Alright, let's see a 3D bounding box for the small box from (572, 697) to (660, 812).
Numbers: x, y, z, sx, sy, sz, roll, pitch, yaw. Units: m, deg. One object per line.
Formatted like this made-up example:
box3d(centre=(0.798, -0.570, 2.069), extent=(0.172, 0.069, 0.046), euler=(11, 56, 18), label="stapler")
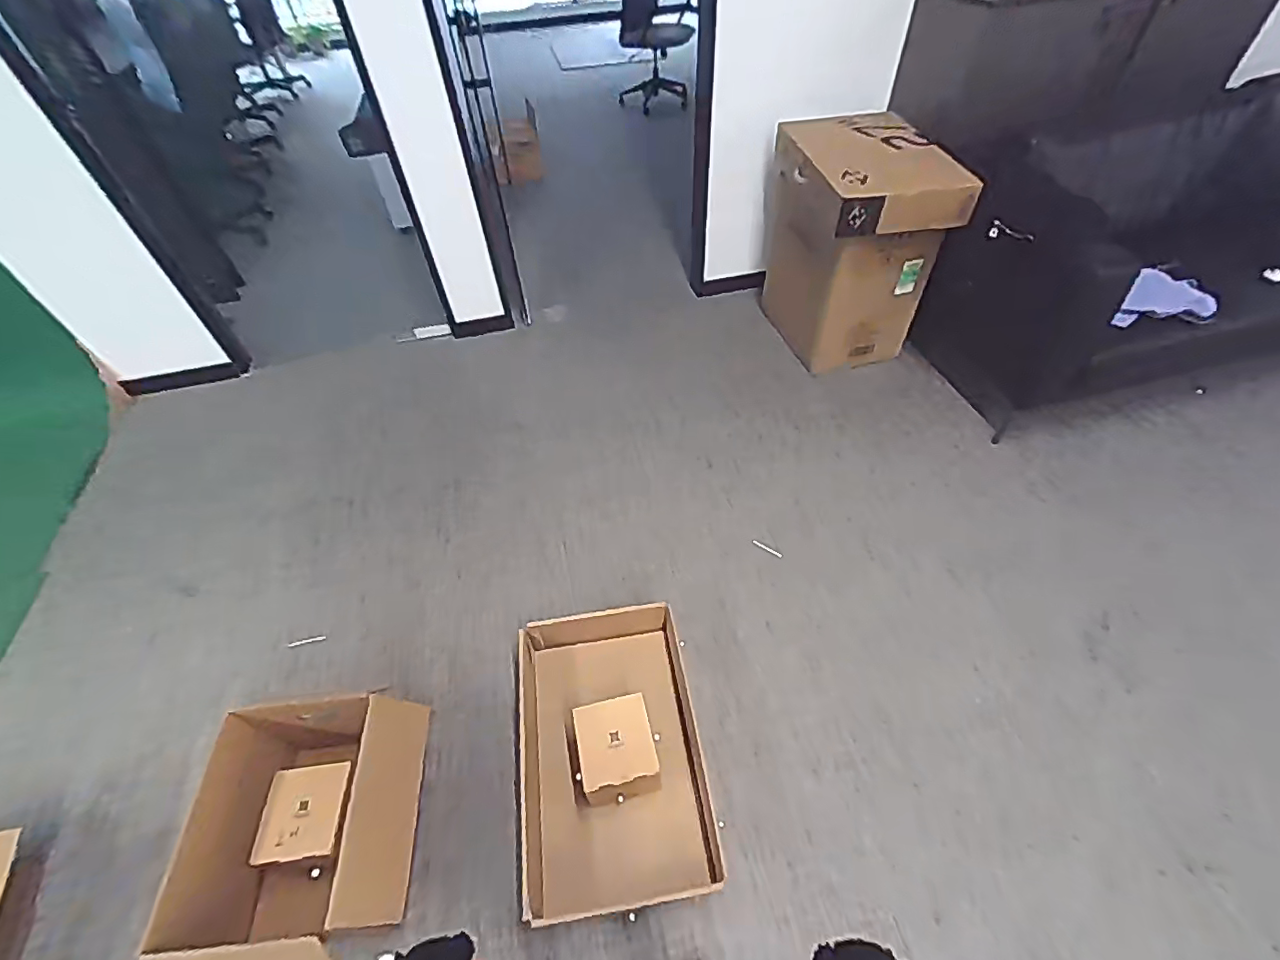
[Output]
box3d(centre=(-0.056, 0.630, 1.238), extent=(0.168, 0.176, 0.179), euler=(-11, 49, -8), label="small box")
